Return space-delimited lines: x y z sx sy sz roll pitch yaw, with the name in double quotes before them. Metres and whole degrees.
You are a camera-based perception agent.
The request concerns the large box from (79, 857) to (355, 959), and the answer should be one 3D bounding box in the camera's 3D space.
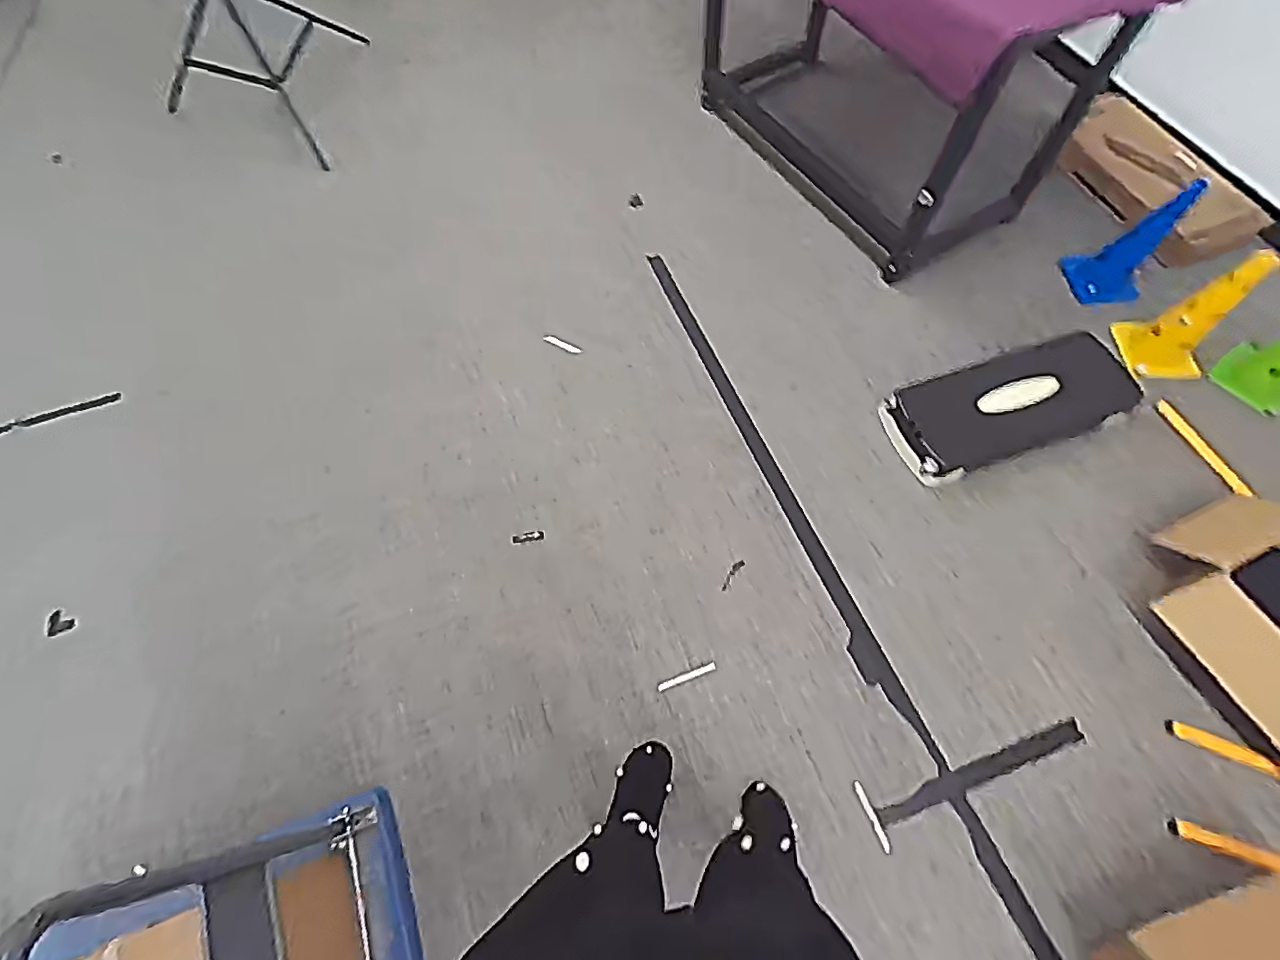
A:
"large box" -0.657 0.890 0.827 0.320 0.320 0.408 -21 65 -8
